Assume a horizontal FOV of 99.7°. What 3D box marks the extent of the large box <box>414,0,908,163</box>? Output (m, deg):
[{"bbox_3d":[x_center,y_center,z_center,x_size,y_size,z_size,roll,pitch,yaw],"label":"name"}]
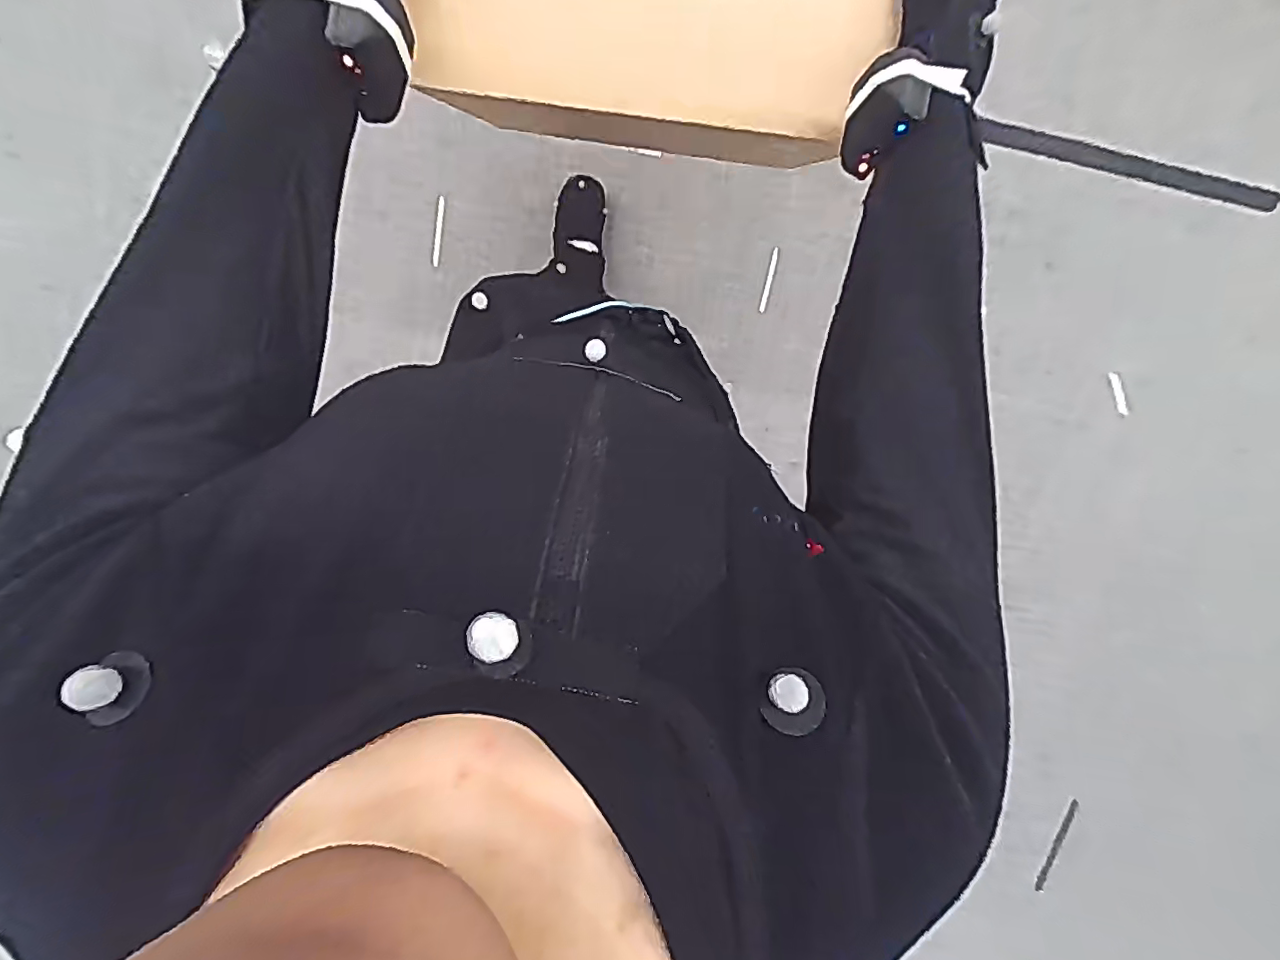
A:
[{"bbox_3d":[0.024,-0.519,0.532,0.408,0.320,0.320,6,118,-3],"label":"large box"}]
